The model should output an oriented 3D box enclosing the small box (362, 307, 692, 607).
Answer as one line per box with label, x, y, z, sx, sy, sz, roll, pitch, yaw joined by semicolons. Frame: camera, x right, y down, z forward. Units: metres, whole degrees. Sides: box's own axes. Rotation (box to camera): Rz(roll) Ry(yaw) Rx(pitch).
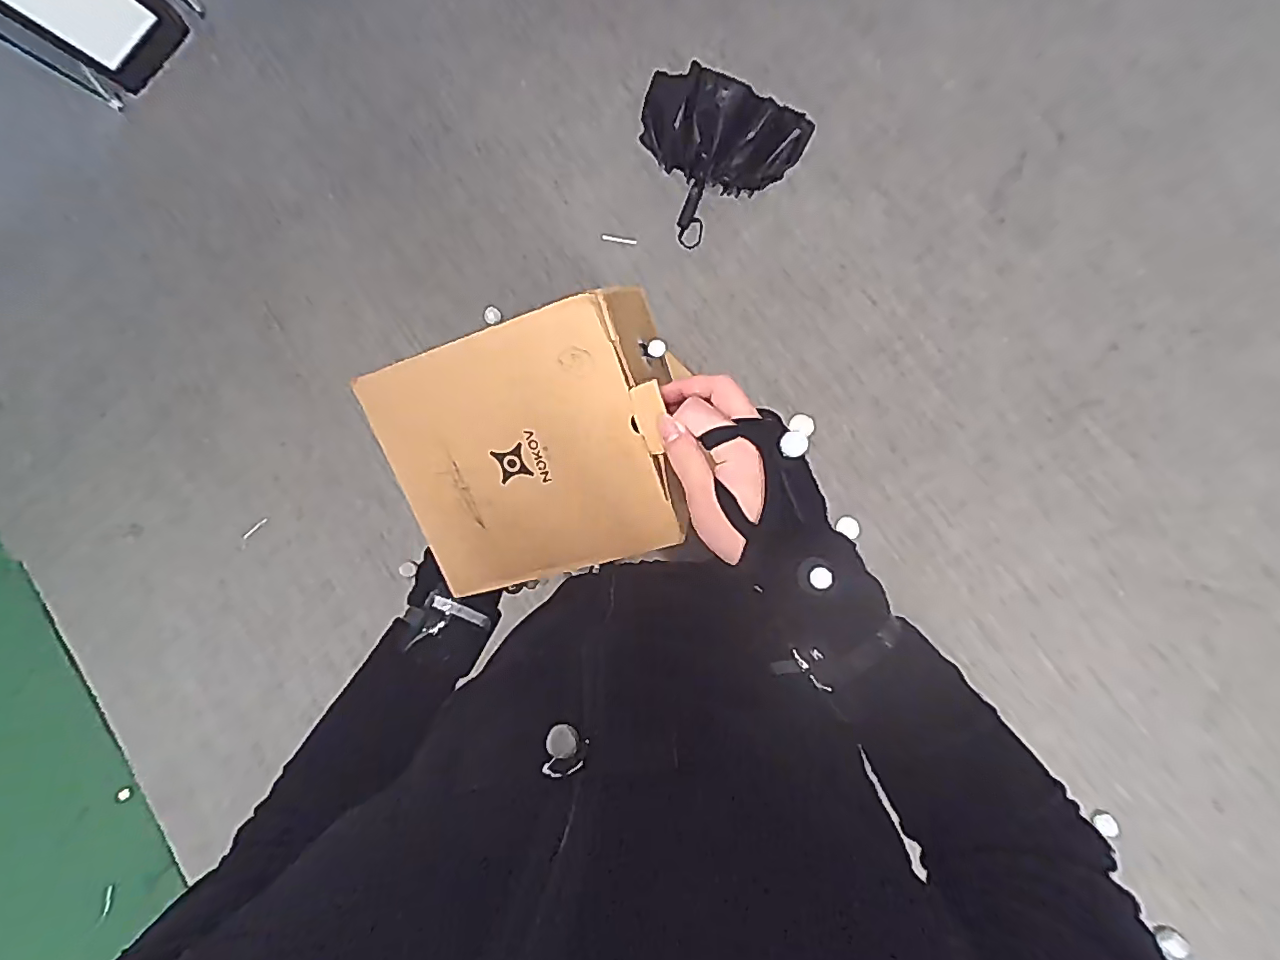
small box;-0.063;-0.029;0.424;0.179;0.176;0.168;-17;103;16
